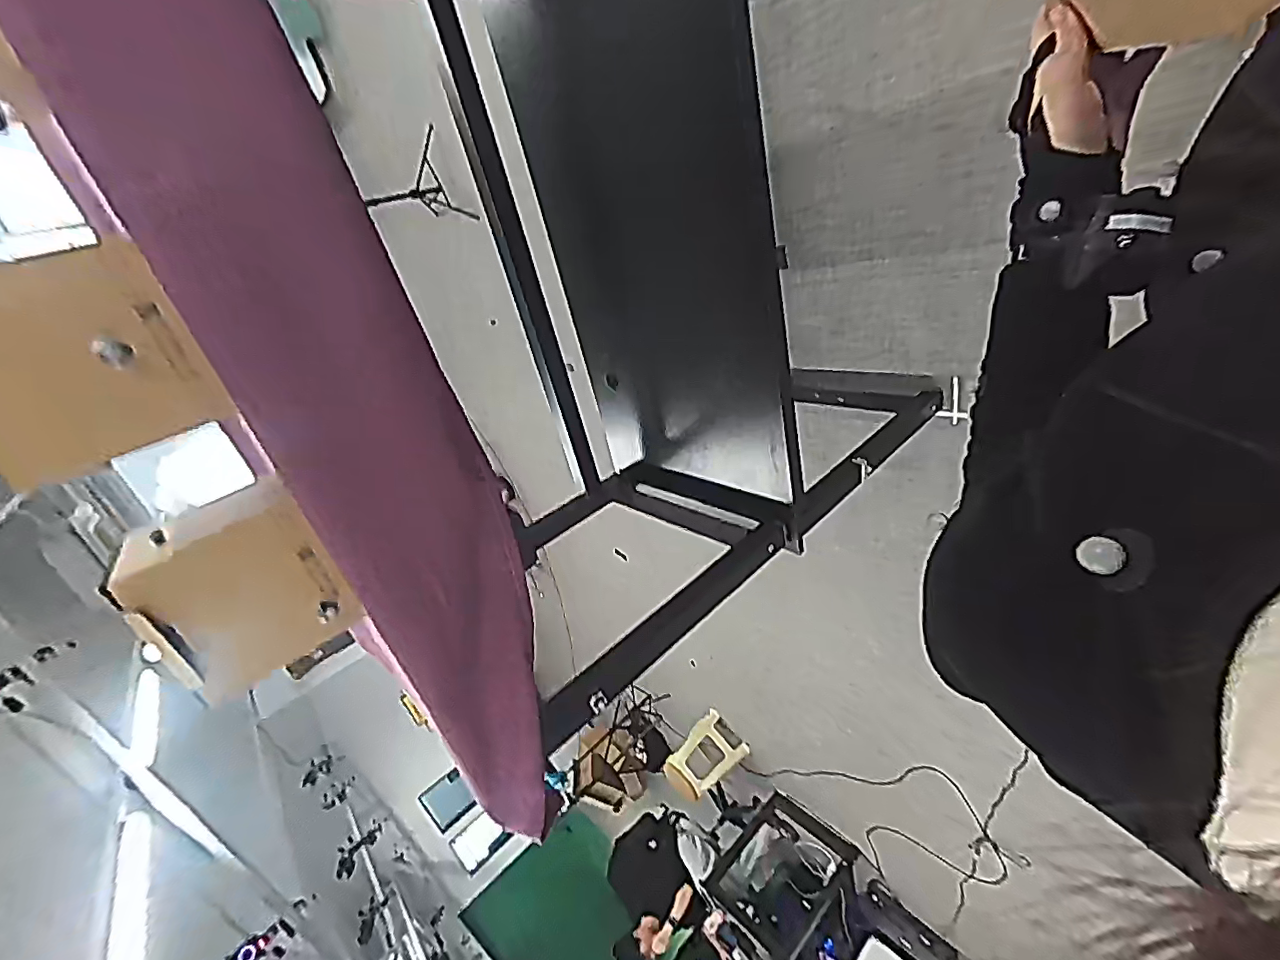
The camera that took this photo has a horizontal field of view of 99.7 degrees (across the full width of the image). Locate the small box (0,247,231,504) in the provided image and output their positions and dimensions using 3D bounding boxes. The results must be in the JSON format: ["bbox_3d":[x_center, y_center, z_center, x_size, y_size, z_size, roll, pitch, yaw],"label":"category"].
[{"bbox_3d":[-0.518,-0.103,0.502,0.179,0.176,0.168,16,131,49],"label":"small box"}]

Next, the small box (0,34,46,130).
[{"bbox_3d":[-0.575,-0.343,0.365,0.168,0.176,0.179,21,135,47],"label":"small box"}]

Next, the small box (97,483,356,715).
[{"bbox_3d":[-0.457,0.120,0.622,0.179,0.176,0.168,16,130,50],"label":"small box"}]
